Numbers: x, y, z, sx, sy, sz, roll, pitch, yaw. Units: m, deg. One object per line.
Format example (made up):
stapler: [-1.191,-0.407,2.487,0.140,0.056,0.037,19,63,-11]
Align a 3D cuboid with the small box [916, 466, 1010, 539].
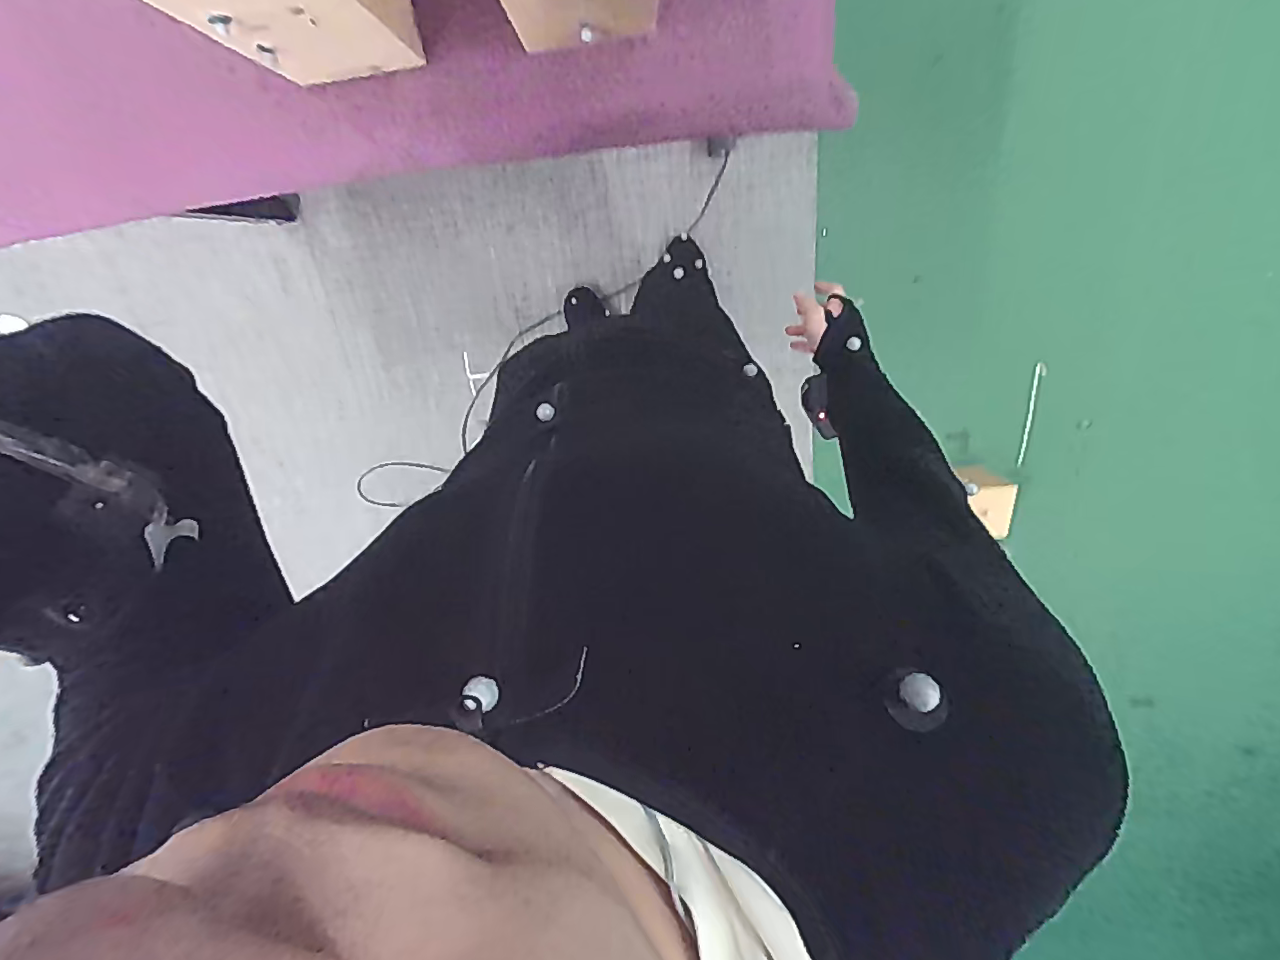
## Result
small box: [0.983,0.064,1.658,0.179,0.176,0.168,-4,113,1]

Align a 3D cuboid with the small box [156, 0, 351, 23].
small box: [-0.361,-0.499,0.424,0.168,0.176,0.179,-8,111,2]

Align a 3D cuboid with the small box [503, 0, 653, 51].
small box: [-0.077,-0.595,0.567,0.168,0.176,0.179,-7,112,2]
